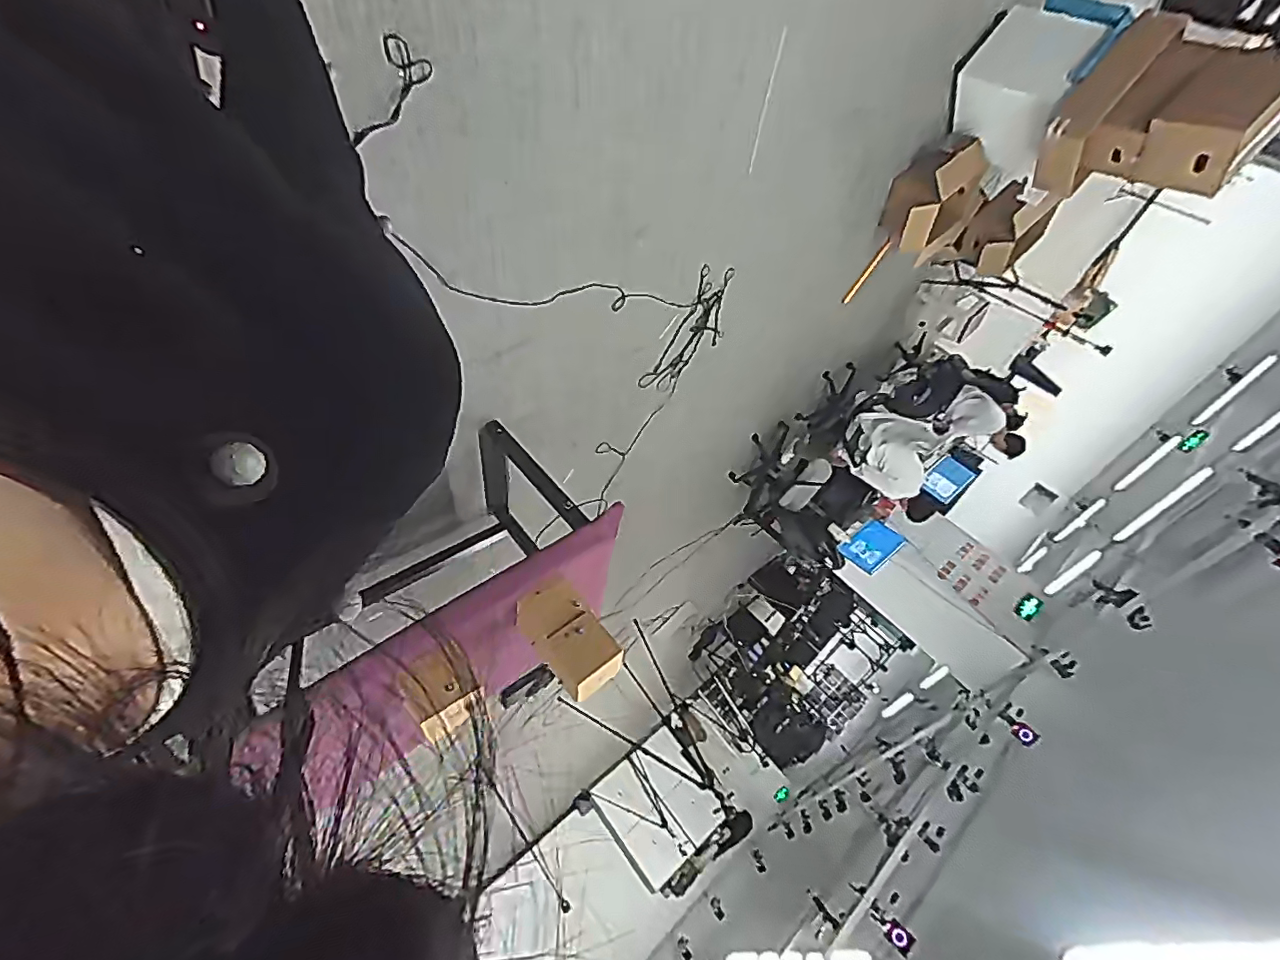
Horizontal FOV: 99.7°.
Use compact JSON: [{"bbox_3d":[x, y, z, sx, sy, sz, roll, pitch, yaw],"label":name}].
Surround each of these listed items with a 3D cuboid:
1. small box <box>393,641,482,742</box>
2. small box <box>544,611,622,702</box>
[{"bbox_3d":[-0.563,0.585,1.513,0.179,0.176,0.168,-26,148,-34],"label":"small box"},{"bbox_3d":[-0.177,0.525,1.624,0.168,0.176,0.179,-31,151,-29],"label":"small box"}]
